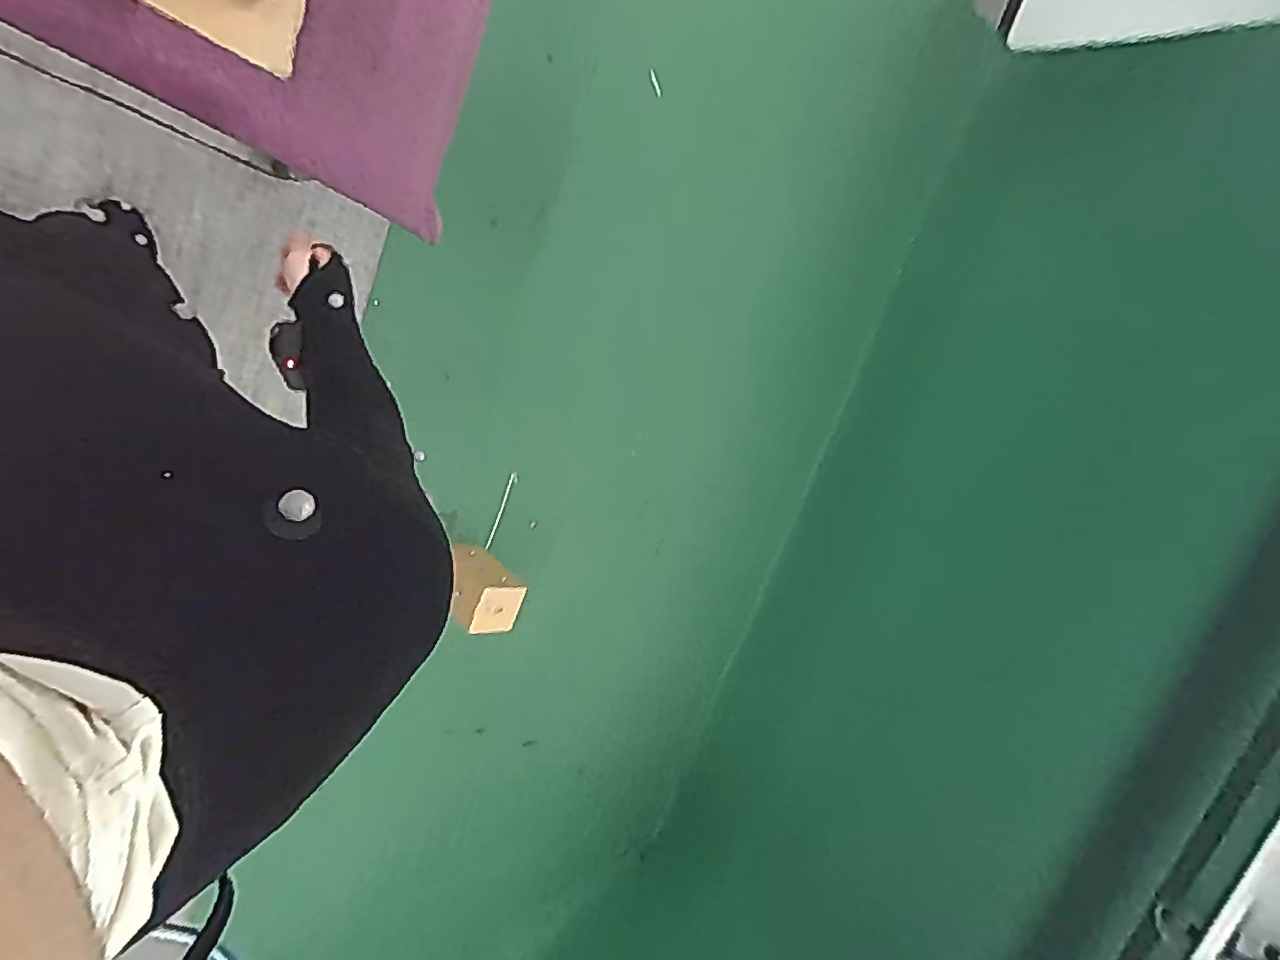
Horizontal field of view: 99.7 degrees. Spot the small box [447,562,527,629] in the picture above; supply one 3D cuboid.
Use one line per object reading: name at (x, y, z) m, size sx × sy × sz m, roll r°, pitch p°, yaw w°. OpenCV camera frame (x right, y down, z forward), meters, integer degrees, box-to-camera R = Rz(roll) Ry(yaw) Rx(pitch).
small box at (-0.525, 0.391, 1.852) m, size 0.179 × 0.176 × 0.168 m, roll 14°, pitch 101°, yaw -50°
